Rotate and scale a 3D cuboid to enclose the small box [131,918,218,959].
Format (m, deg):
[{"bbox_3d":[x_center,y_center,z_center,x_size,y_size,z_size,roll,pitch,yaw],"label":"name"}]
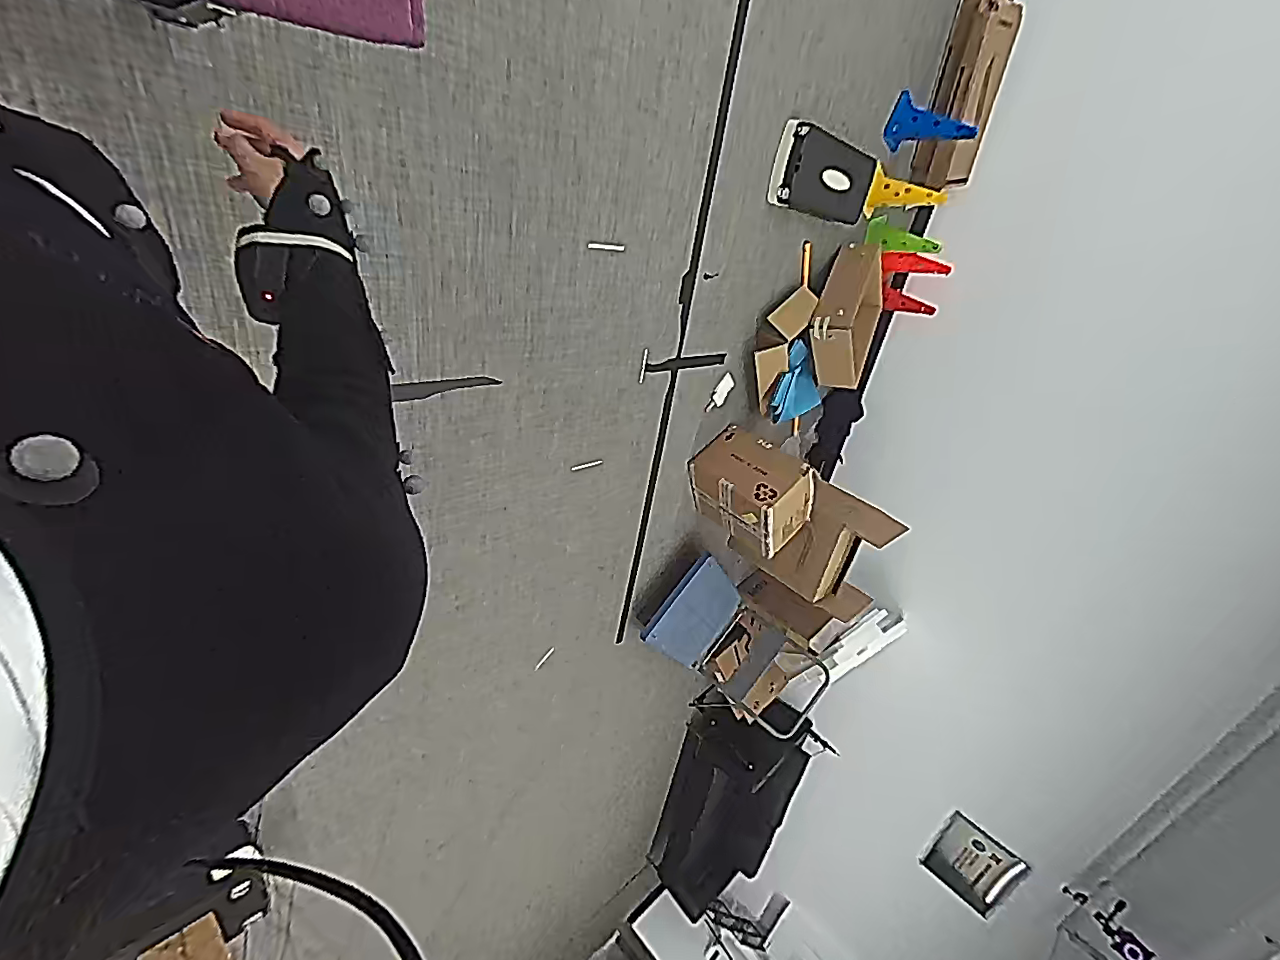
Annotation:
[{"bbox_3d":[-1.267,1.369,1.485,0.168,0.176,0.179,-18,129,-44],"label":"small box"}]

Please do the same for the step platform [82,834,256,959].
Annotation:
[{"bbox_3d":[-1.486,1.338,1.500,0.684,0.204,0.286,-19,131,-43],"label":"step platform"}]
